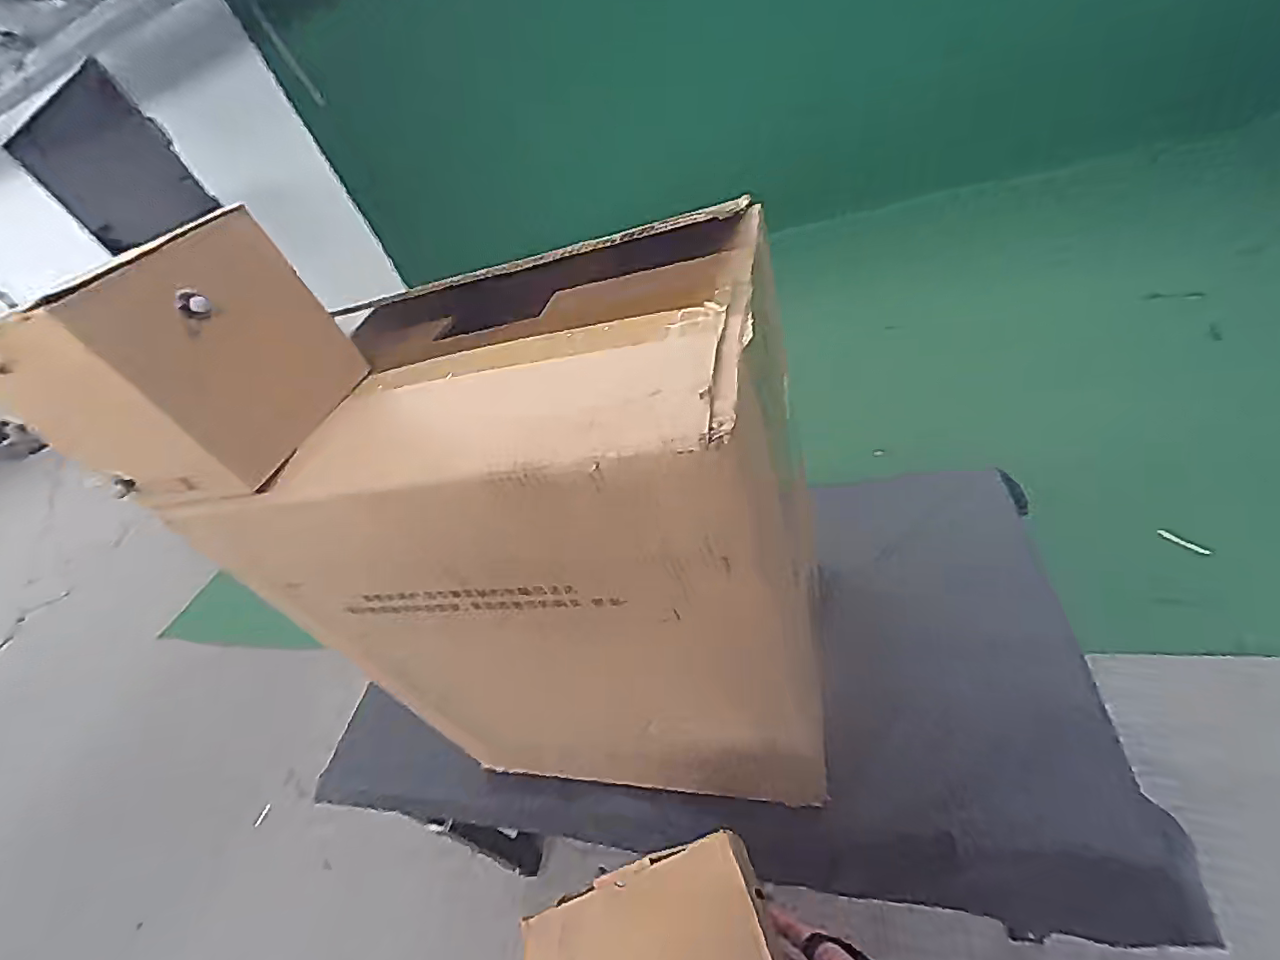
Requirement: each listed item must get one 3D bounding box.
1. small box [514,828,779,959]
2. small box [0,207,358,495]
[{"bbox_3d":[0.024,0.392,0.407,0.168,0.176,0.179,-22,53,0],"label":"small box"},{"bbox_3d":[-0.391,-0.099,0.468,0.168,0.176,0.179,-5,43,23],"label":"small box"}]
